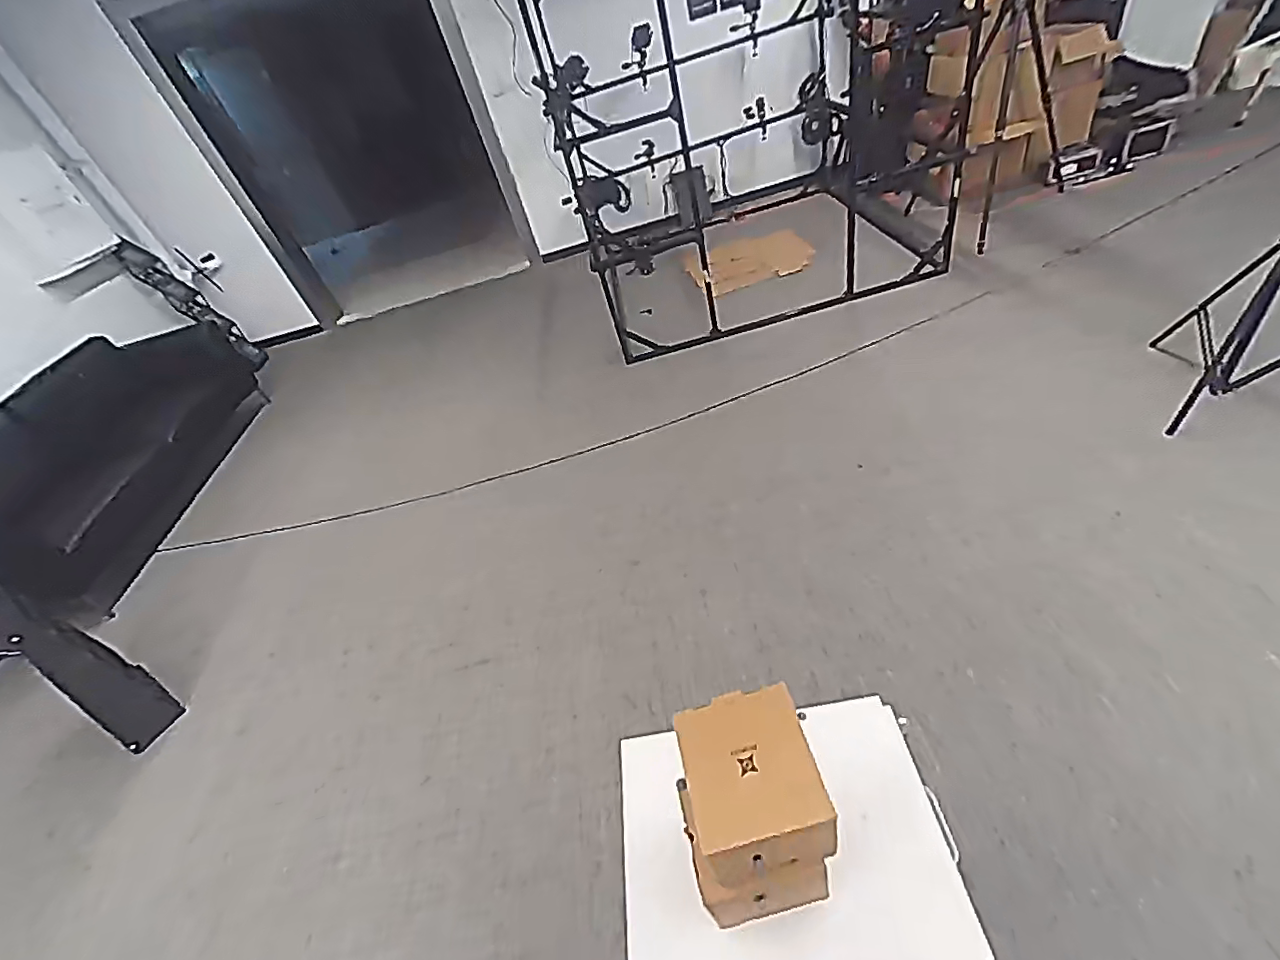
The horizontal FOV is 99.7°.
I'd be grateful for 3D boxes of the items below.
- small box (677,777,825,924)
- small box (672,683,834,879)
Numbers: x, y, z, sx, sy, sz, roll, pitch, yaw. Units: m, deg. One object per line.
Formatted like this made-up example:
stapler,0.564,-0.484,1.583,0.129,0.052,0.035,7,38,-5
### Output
small box,0.172,0.553,0.837,0.179,0.176,0.168,-17,40,1
small box,0.156,0.418,0.743,0.168,0.176,0.179,-17,39,2
